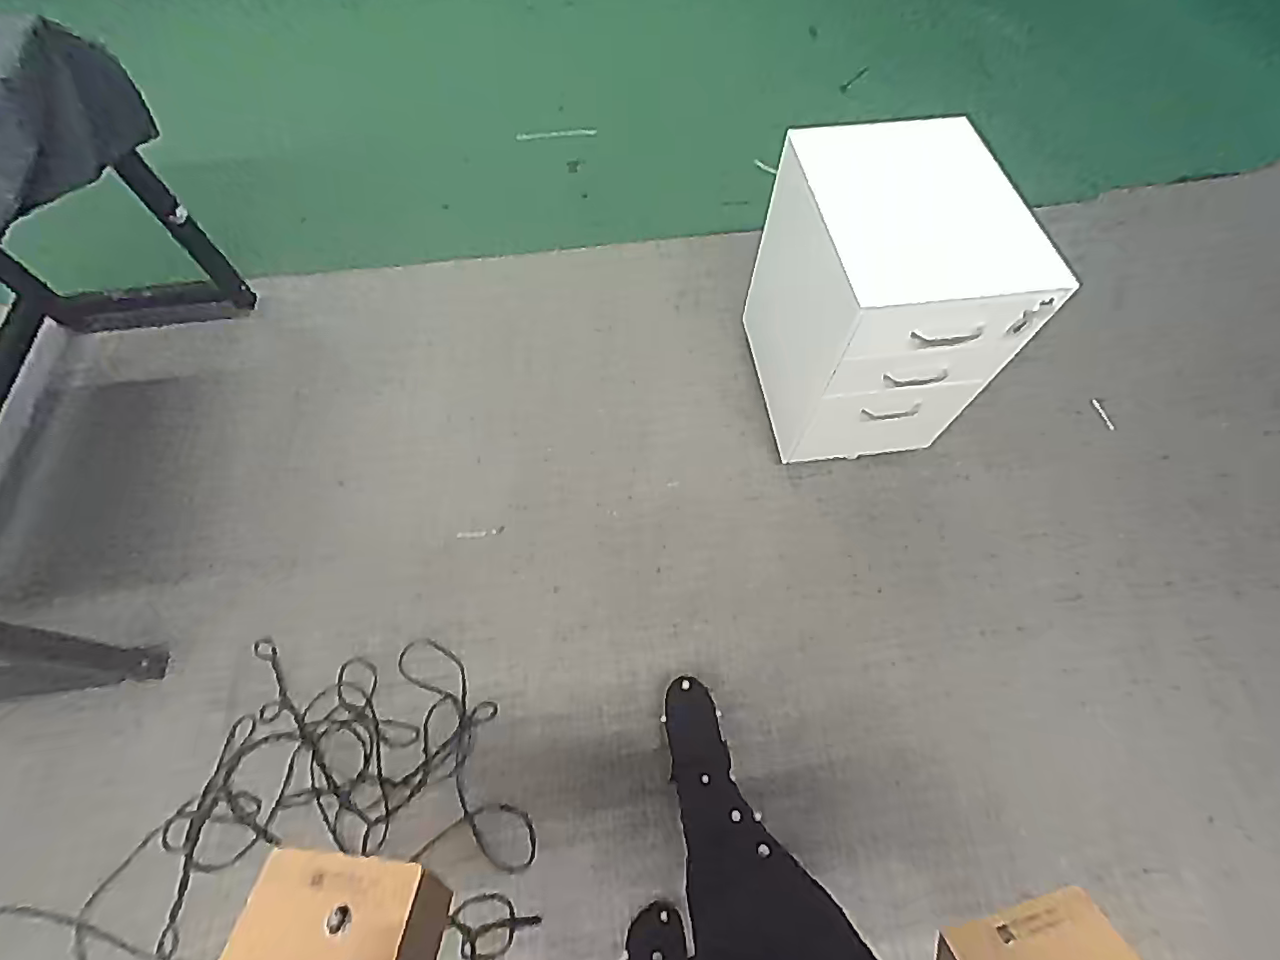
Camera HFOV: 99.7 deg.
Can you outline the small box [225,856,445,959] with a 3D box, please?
[{"bbox_3d":[-0.322,0.526,0.571,0.168,0.179,0.176,7,43,1],"label":"small box"}]
